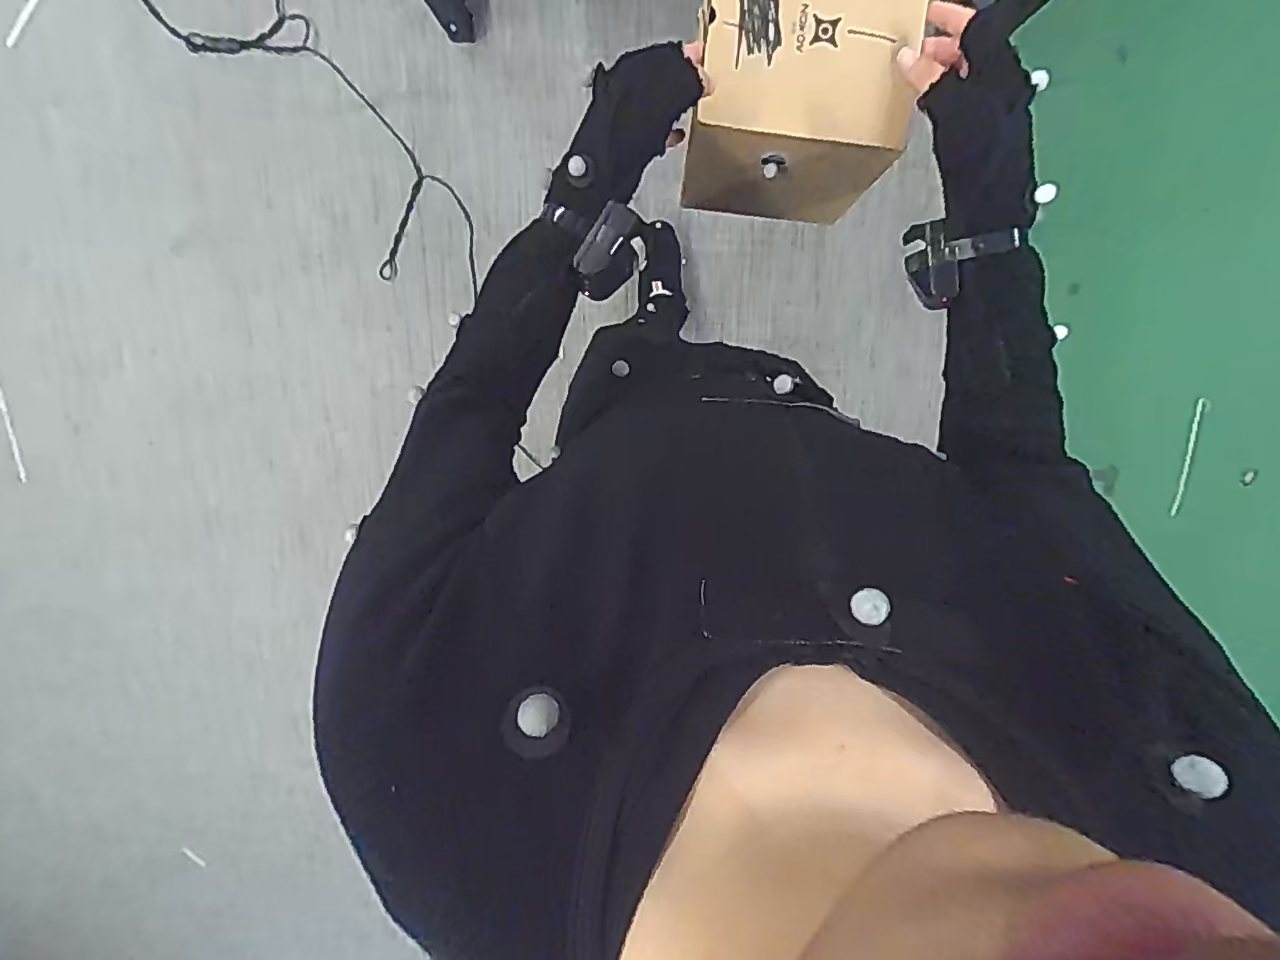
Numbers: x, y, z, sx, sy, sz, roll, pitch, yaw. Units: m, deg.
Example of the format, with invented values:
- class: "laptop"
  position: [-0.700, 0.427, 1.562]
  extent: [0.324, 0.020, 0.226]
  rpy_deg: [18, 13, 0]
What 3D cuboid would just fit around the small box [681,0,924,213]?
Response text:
- class: "small box"
  position: [0.136, -0.370, 0.506]
  extent: [0.179, 0.176, 0.168]
  rpy_deg: [7, 96, -1]
